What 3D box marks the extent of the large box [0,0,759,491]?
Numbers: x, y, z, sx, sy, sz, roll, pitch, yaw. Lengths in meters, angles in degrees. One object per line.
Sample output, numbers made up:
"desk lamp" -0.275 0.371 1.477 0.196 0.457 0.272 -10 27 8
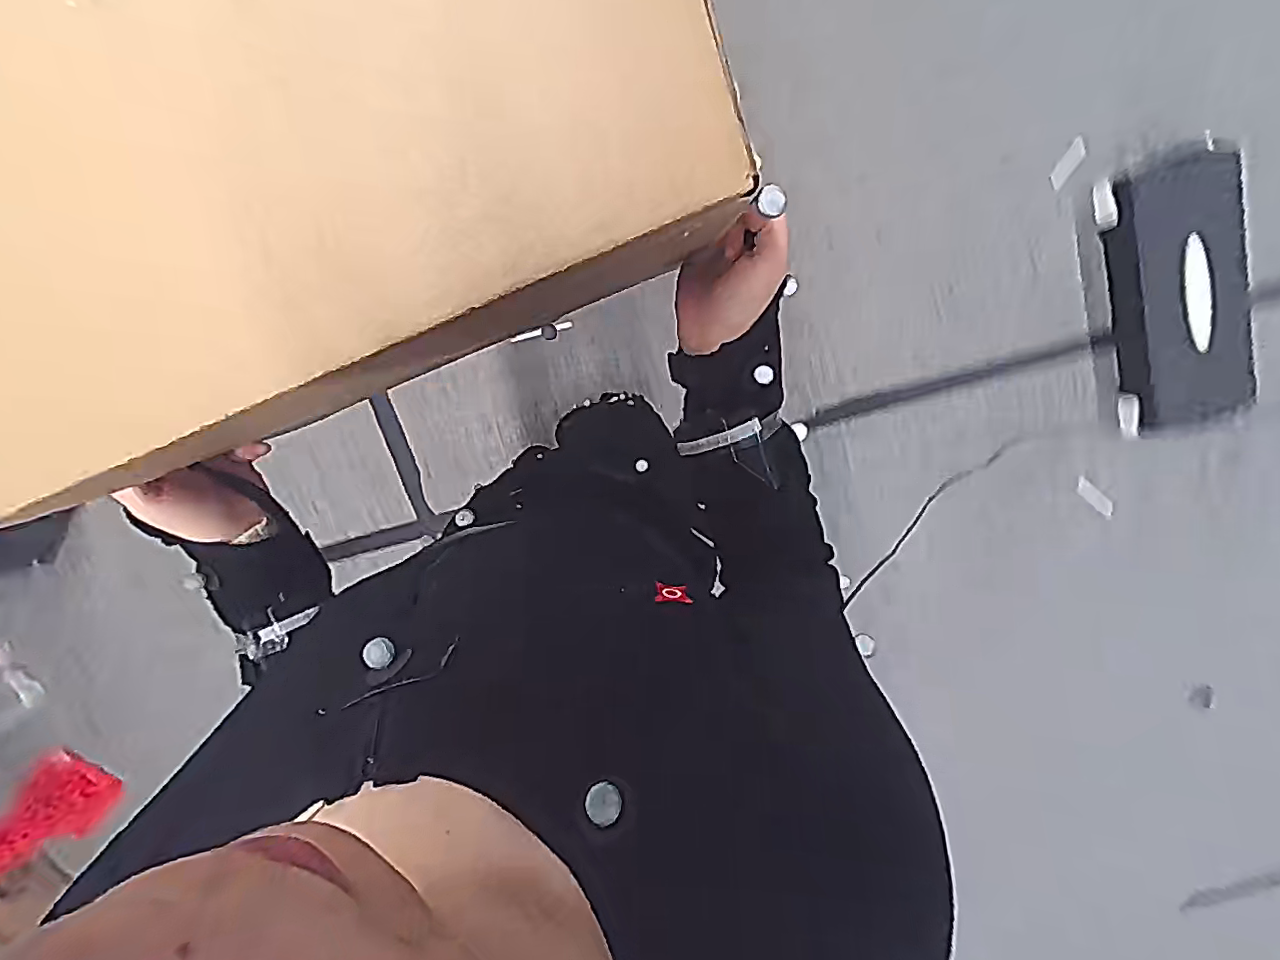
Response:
"large box" -0.189 -0.236 0.327 0.408 0.320 0.320 -20 107 7
